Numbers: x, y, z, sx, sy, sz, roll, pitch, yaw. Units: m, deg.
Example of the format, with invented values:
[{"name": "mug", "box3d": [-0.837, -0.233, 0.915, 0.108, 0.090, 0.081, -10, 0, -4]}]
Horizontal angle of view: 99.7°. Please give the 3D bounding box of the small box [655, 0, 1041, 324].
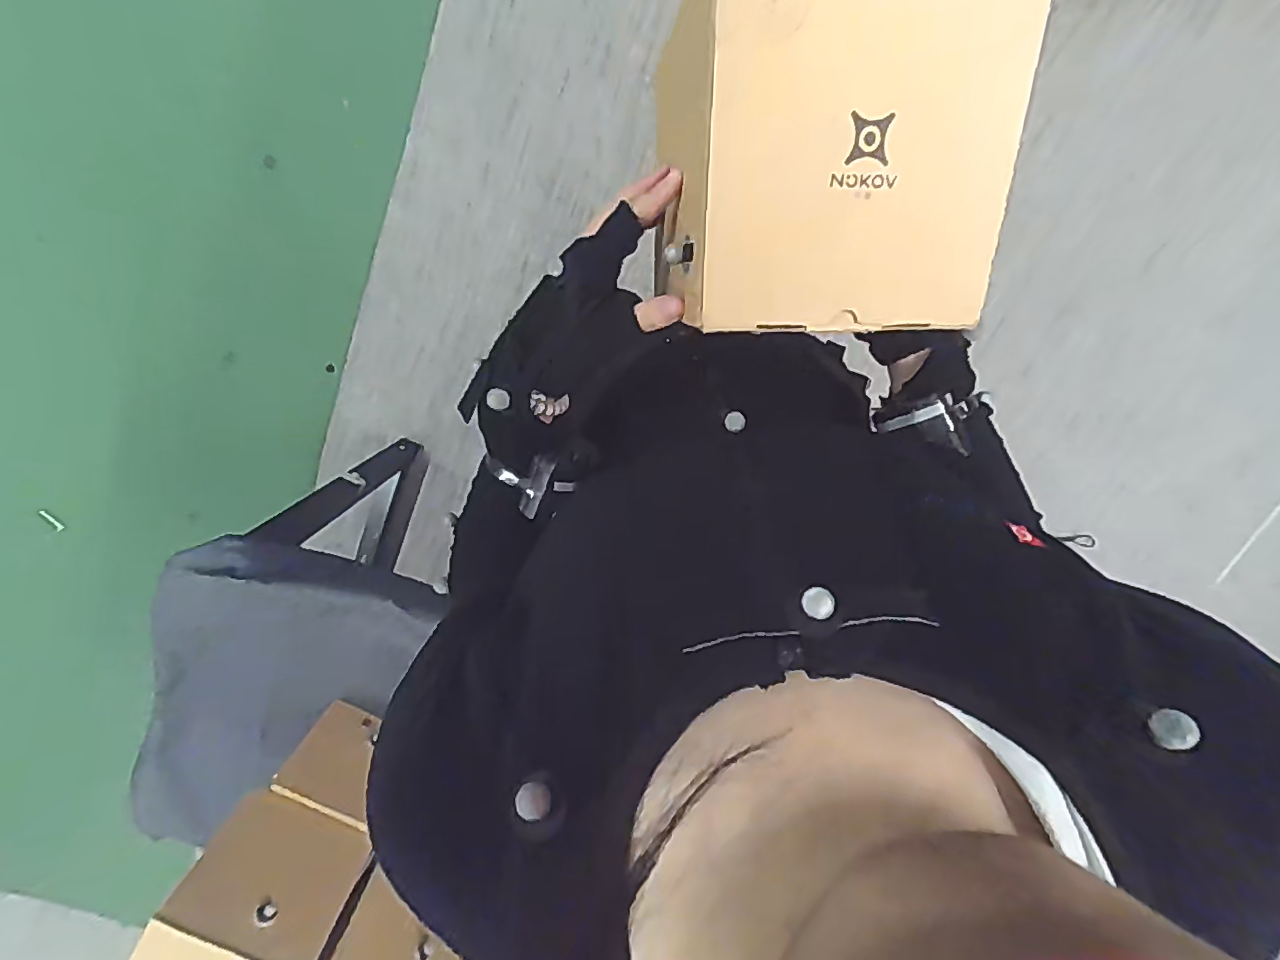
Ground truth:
[{"name": "small box", "box3d": [0.103, -0.199, 0.351, 0.168, 0.176, 0.179, -2, 112, -7]}]
